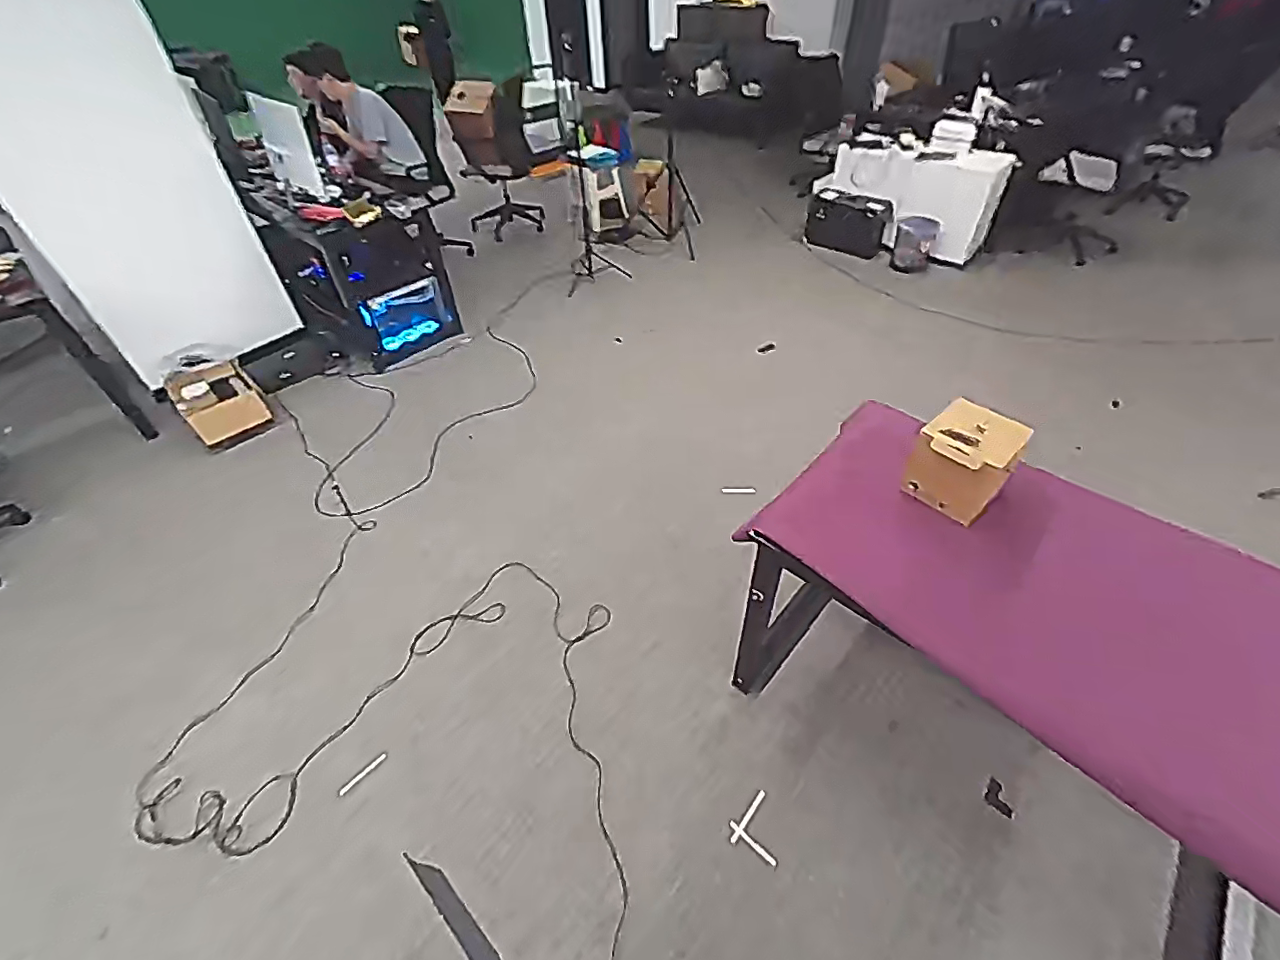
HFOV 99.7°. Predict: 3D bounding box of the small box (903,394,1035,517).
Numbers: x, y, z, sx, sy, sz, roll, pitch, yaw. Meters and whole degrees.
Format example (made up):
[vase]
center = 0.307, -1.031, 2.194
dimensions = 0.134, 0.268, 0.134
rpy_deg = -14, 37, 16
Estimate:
[small box]
center = 0.699, -0.052, 1.171
dimensions = 0.179, 0.176, 0.168
rpy_deg = -33, 53, -27
